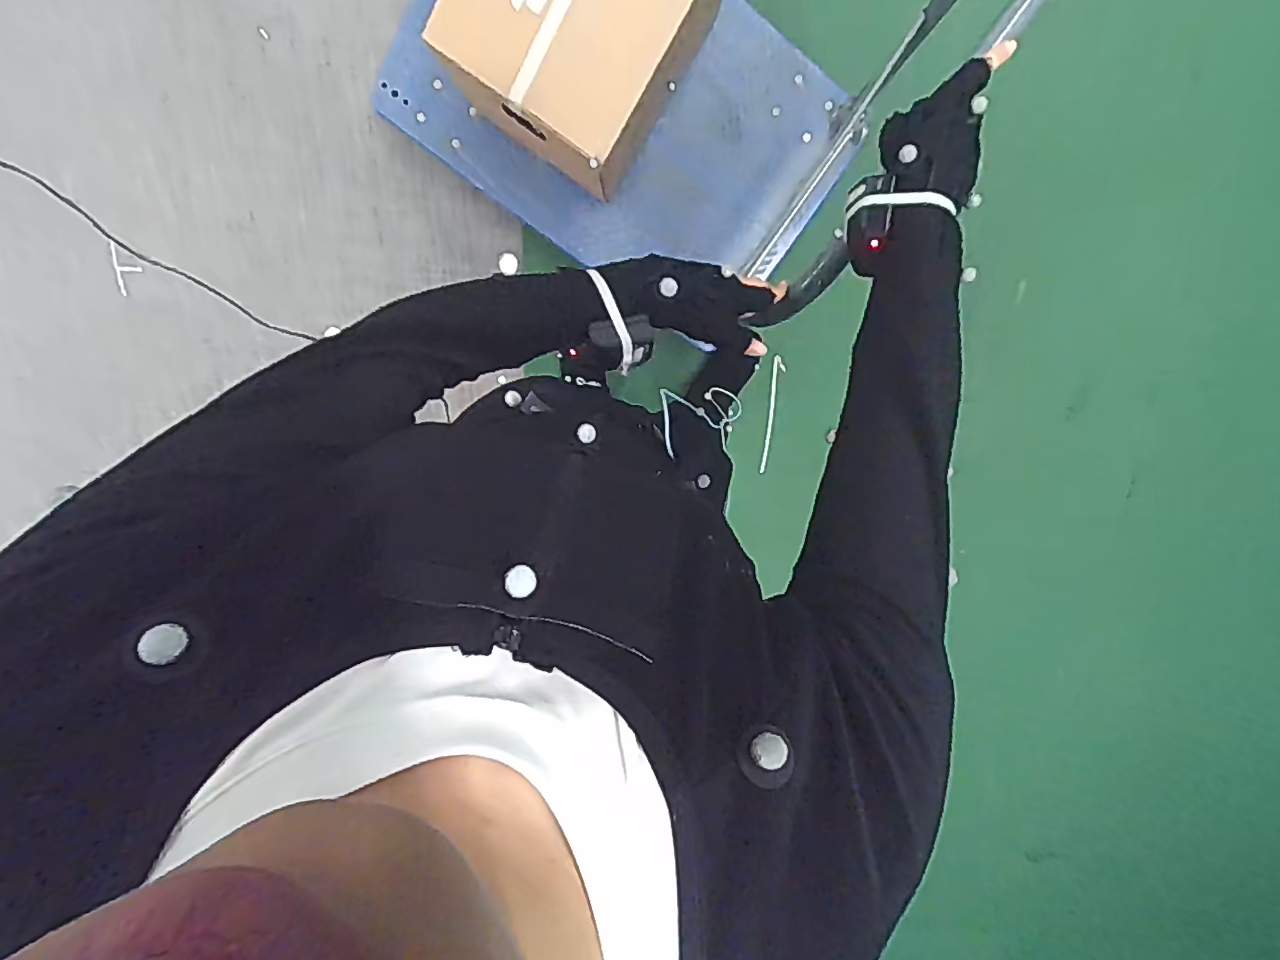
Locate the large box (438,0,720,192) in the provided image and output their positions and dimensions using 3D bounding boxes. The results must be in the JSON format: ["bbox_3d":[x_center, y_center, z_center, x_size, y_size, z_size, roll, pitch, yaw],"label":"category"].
[{"bbox_3d":[-0.072,-0.787,0.915,0.320,0.320,0.408,31,105,-9],"label":"large box"}]
